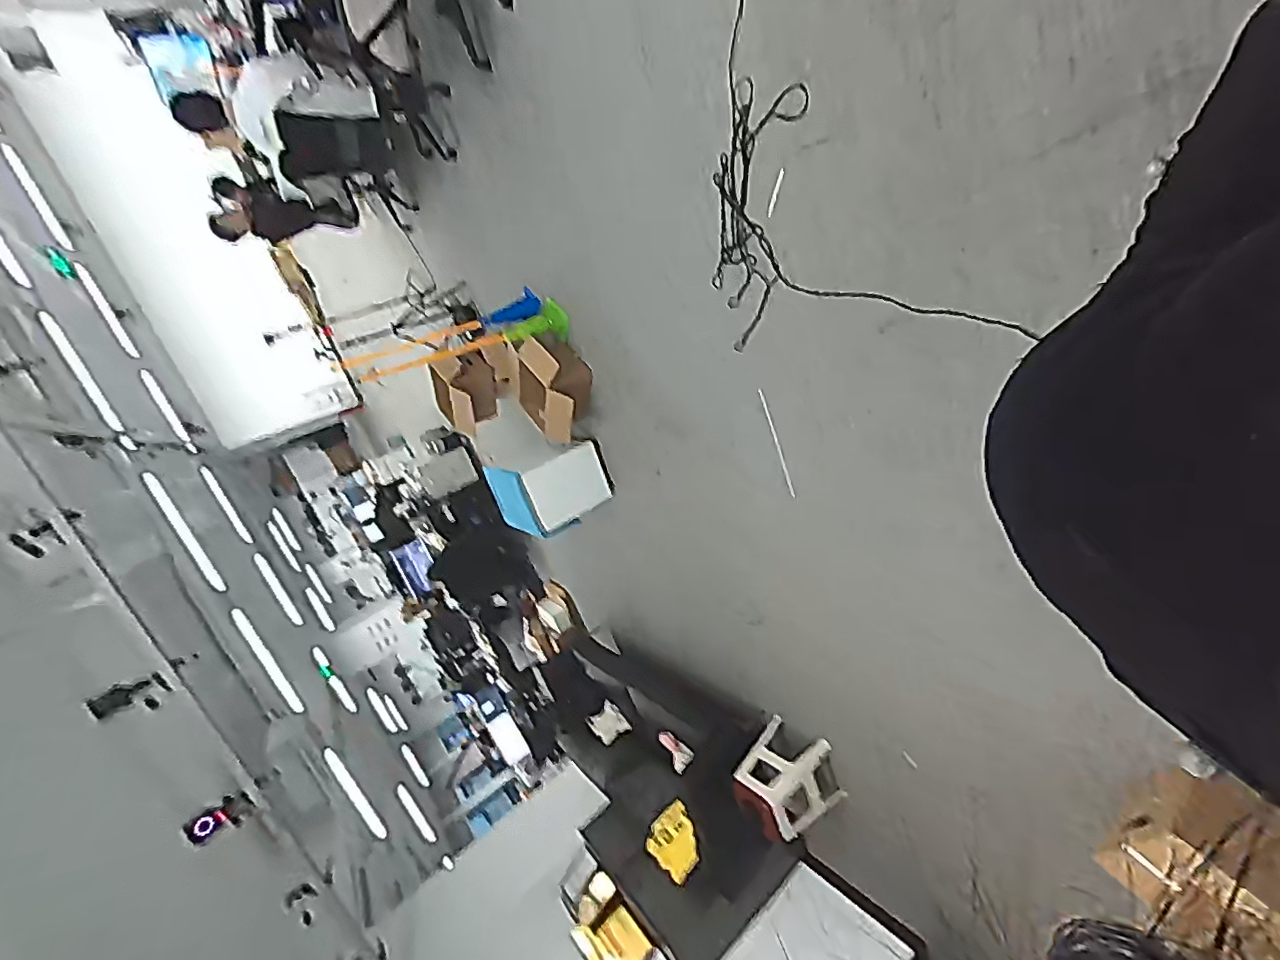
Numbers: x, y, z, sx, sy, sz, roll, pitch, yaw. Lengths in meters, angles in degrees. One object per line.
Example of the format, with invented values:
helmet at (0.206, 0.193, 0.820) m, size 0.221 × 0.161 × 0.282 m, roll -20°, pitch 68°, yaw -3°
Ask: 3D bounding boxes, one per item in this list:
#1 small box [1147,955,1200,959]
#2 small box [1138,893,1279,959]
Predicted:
small box at (1.207, 1.166, 1.157) m, size 0.179 × 0.176 × 0.168 m, roll 39°, pitch 146°, yaw 33°
small box at (1.328, 1.102, 1.250) m, size 0.179 × 0.176 × 0.168 m, roll 38°, pitch 146°, yaw 37°
